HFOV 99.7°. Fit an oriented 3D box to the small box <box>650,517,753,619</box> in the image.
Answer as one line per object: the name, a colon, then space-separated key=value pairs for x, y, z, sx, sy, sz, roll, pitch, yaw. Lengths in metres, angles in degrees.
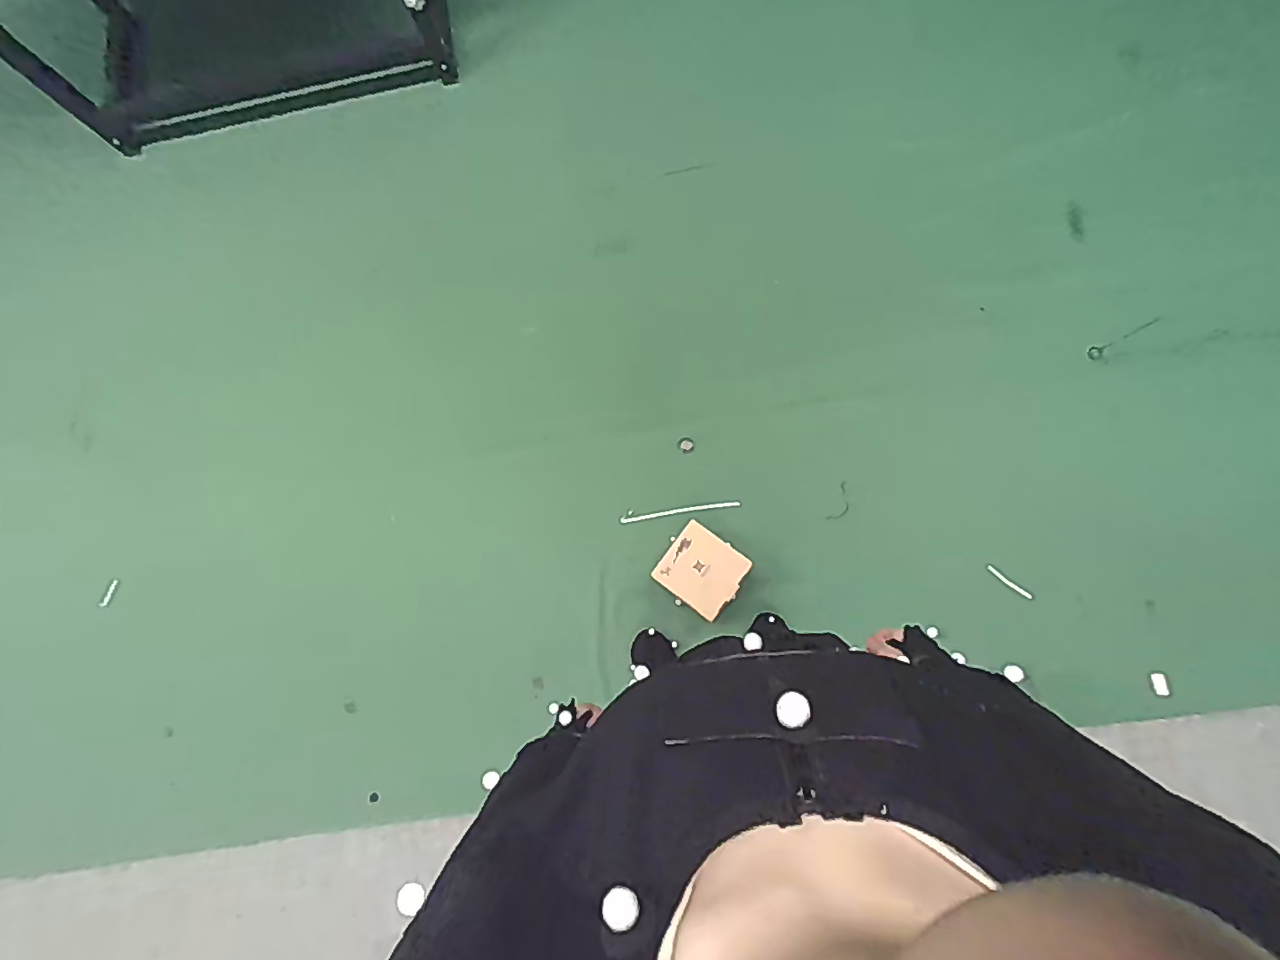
small box: x=0.145 y=0.211 z=1.300 sx=0.179 sy=0.176 sz=0.168 roll=36 pitch=83 yaw=11
